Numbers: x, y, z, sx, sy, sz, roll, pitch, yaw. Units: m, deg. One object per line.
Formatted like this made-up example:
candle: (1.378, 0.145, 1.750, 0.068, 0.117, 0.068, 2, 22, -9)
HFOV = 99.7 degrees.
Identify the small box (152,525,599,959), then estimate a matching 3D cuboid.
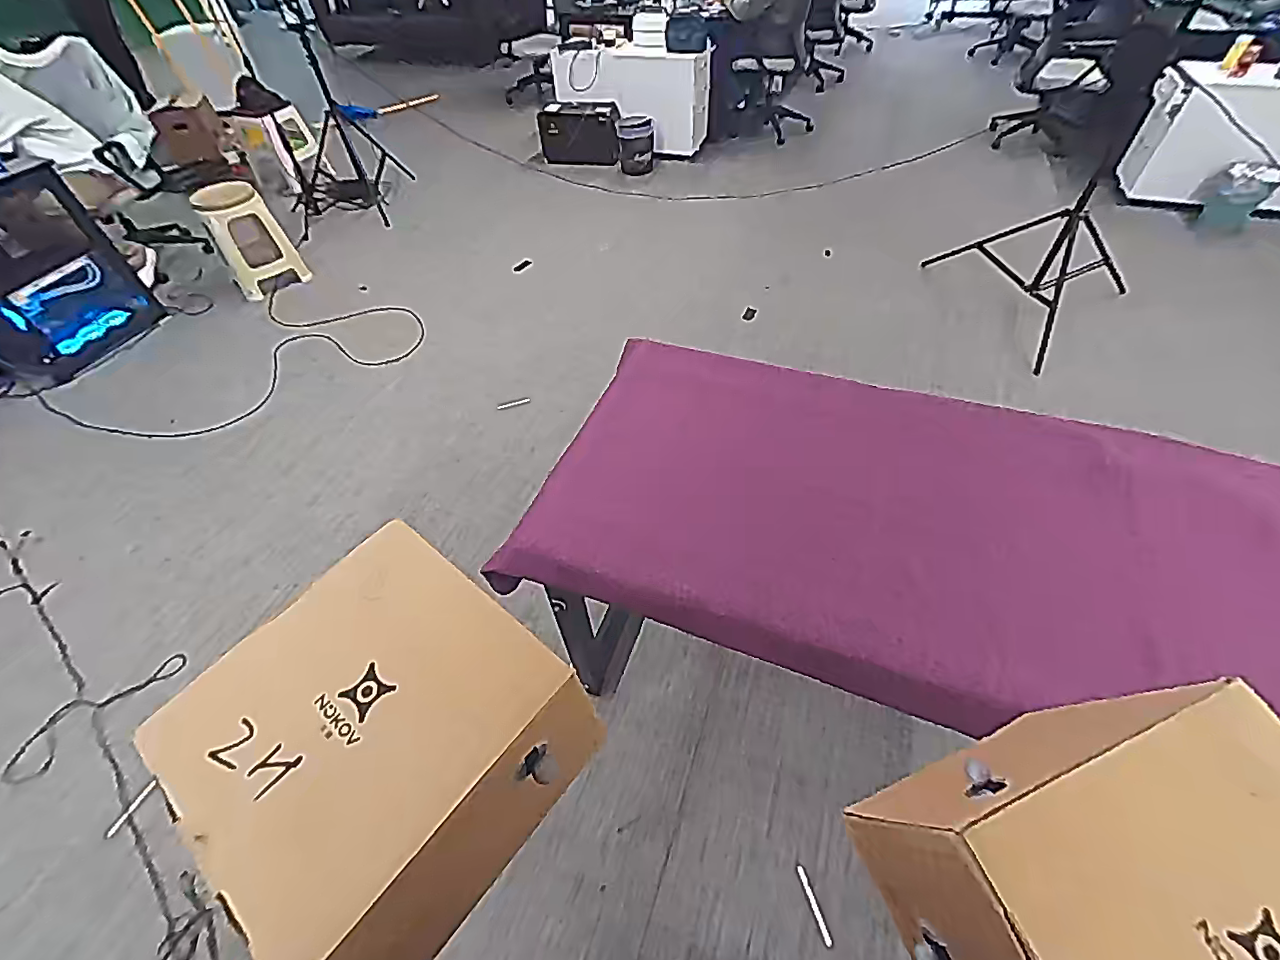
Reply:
small box: (-0.141, 0.170, 0.357, 0.168, 0.176, 0.179, 32, 63, 24)

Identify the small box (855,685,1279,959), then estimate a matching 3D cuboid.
small box: (0.255, 0.234, 0.296, 0.179, 0.176, 0.168, -21, 63, -10)
